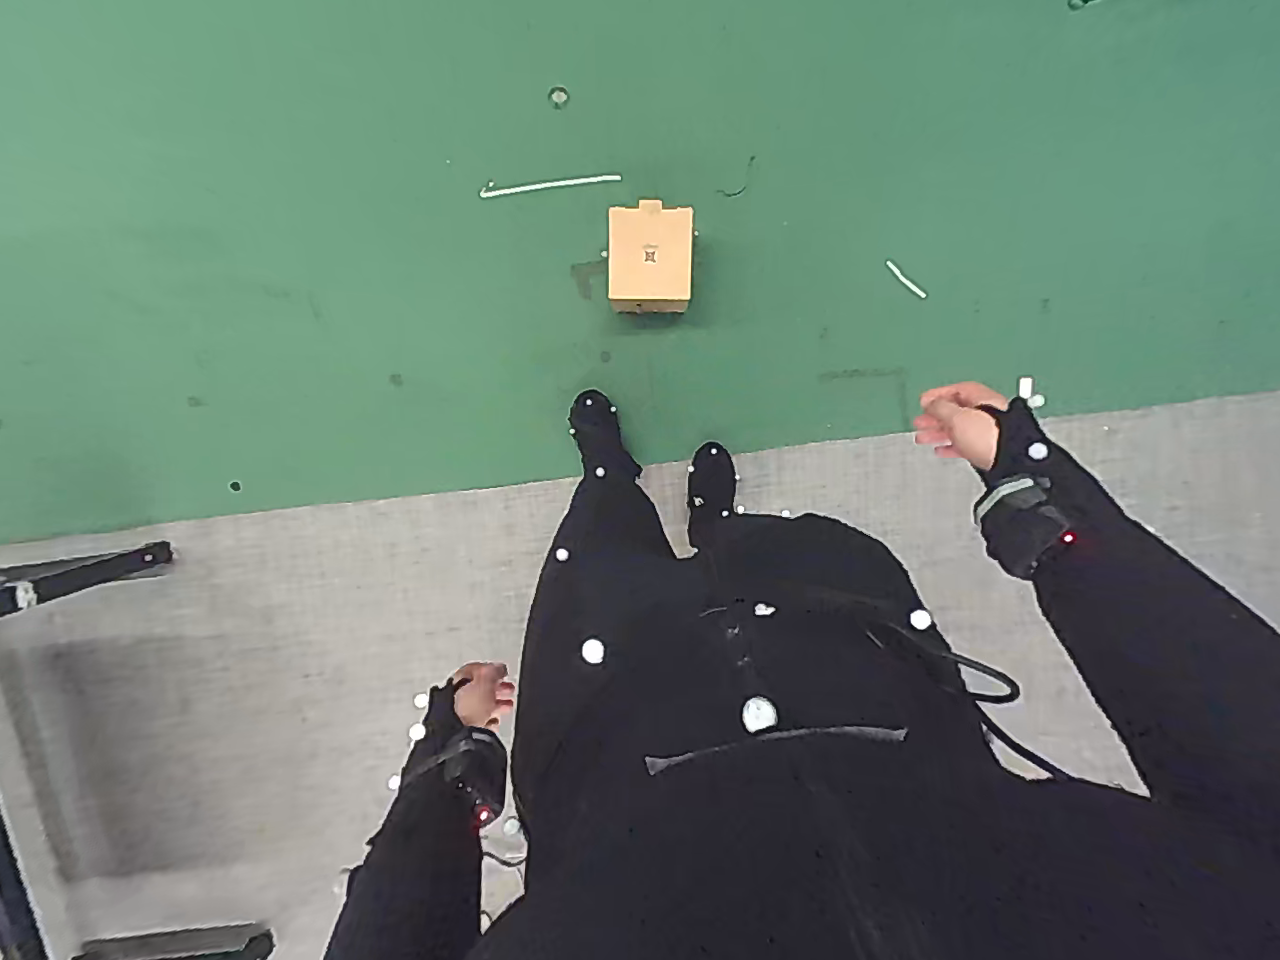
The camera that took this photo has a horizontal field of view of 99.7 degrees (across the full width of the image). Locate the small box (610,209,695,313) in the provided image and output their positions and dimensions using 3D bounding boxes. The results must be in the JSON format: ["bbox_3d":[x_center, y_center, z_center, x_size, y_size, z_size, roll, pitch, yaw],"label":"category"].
[{"bbox_3d":[0.026,-0.454,1.146,0.168,0.176,0.179,1,98,1],"label":"small box"}]
